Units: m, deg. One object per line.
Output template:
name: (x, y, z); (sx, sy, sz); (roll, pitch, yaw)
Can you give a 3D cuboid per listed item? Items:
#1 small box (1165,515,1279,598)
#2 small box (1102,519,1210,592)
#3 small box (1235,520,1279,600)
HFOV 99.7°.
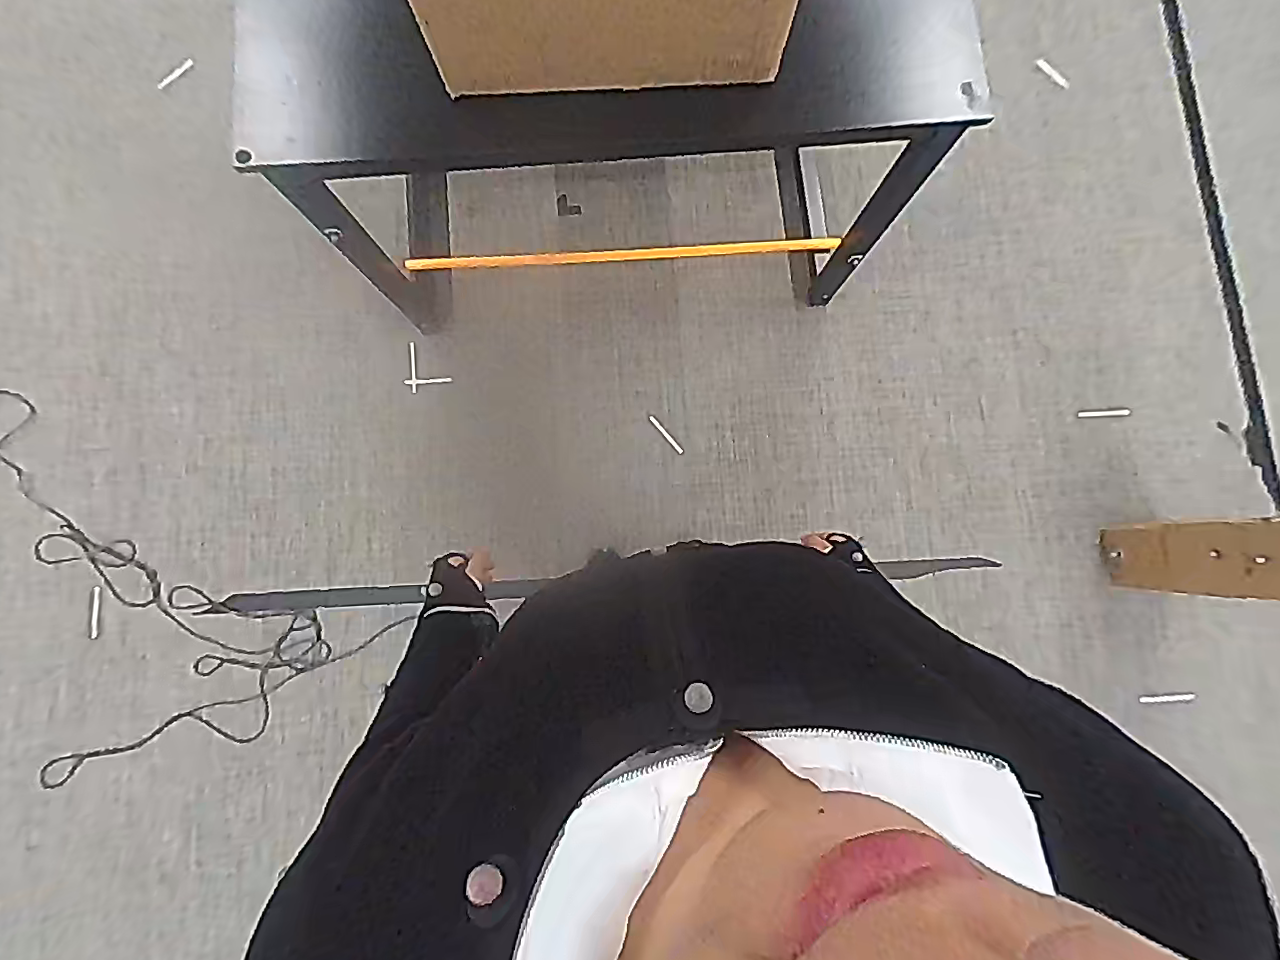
small box: (1.400, 0.178, 1.274); (0.168, 0.176, 0.179); (-5, 84, -1)
small box: (1.398, 0.197, 1.437); (0.179, 0.176, 0.168); (-9, 83, 0)
small box: (1.403, 0.163, 1.110); (0.179, 0.176, 0.168); (-2, 83, 0)
